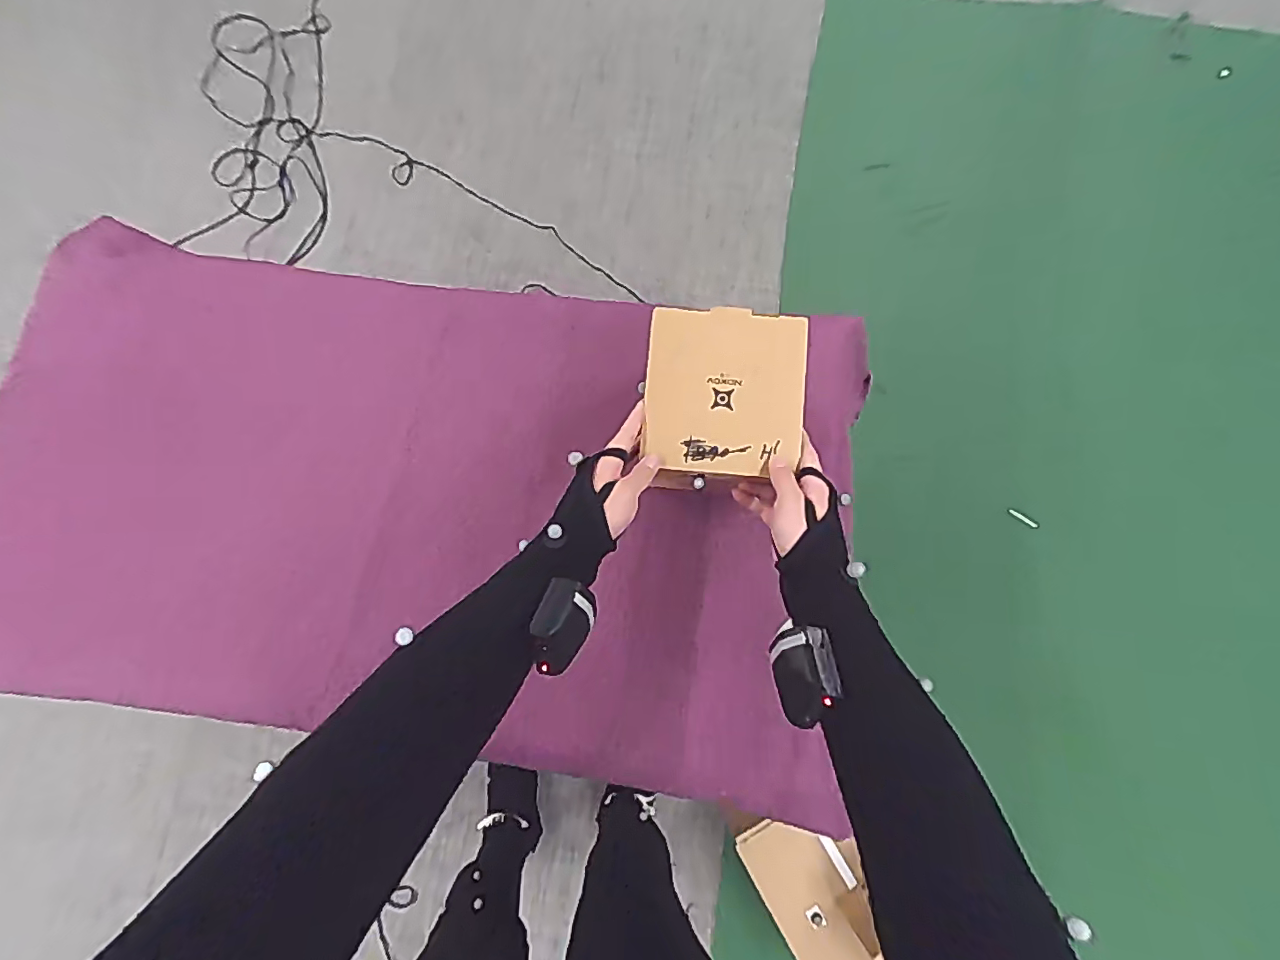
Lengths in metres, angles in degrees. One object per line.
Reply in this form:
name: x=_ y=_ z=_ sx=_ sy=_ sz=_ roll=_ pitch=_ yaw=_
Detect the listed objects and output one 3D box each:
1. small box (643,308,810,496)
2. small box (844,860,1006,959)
small box: x=0.095 y=-0.082 z=0.645 sx=0.168 sy=0.176 sz=0.179 roll=5 pitch=82 yaw=4
small box: x=0.468 y=0.765 z=0.881 sx=0.168 sy=0.176 sz=0.179 roll=-36 pitch=79 yaw=-7
